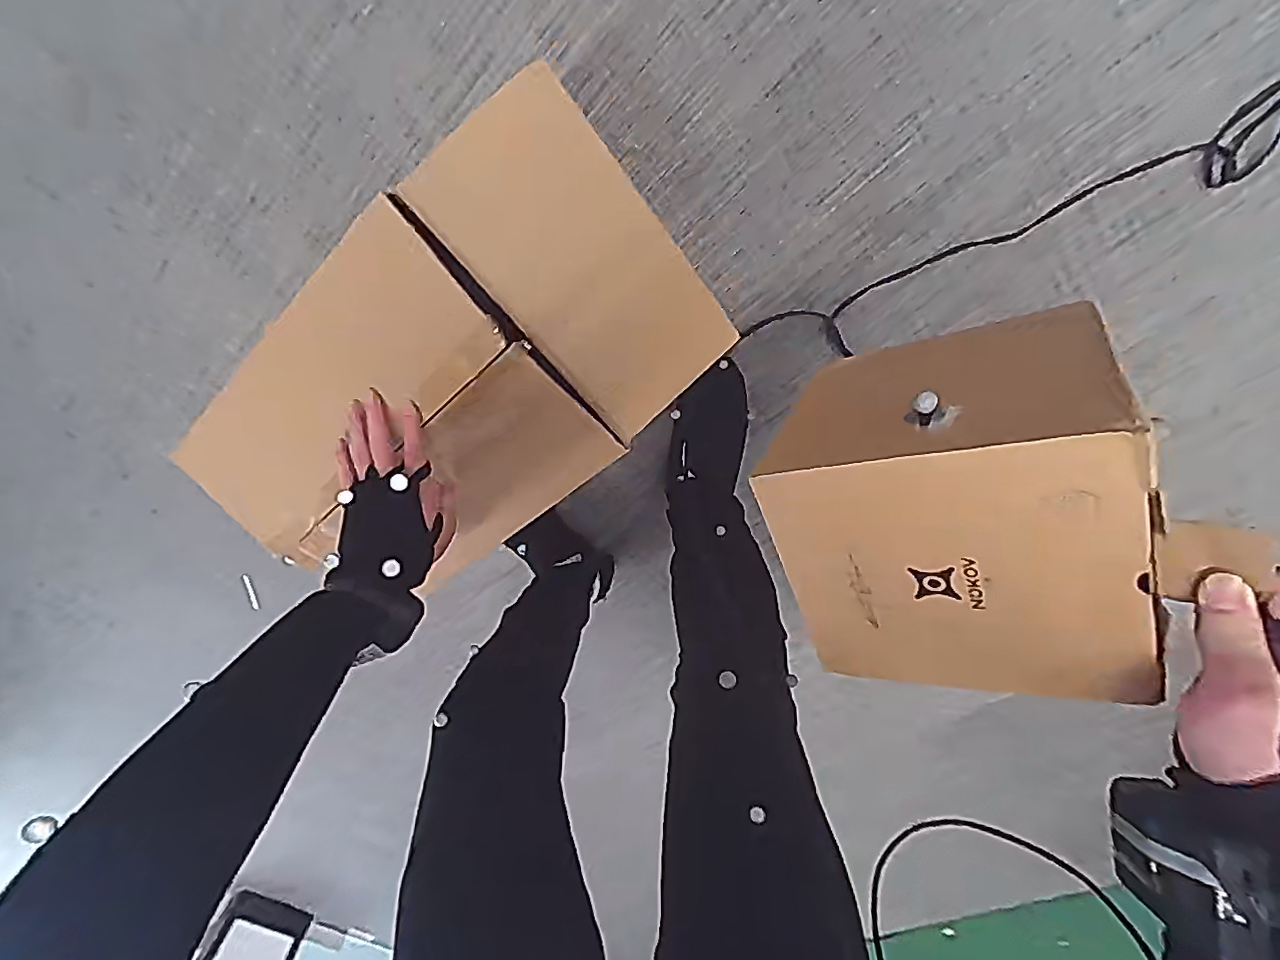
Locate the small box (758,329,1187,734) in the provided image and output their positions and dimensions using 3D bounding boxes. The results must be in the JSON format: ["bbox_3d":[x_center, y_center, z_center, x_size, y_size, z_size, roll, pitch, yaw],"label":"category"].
[{"bbox_3d":[0.199,0.021,0.341,0.179,0.176,0.168,-5,118,36],"label":"small box"}]
